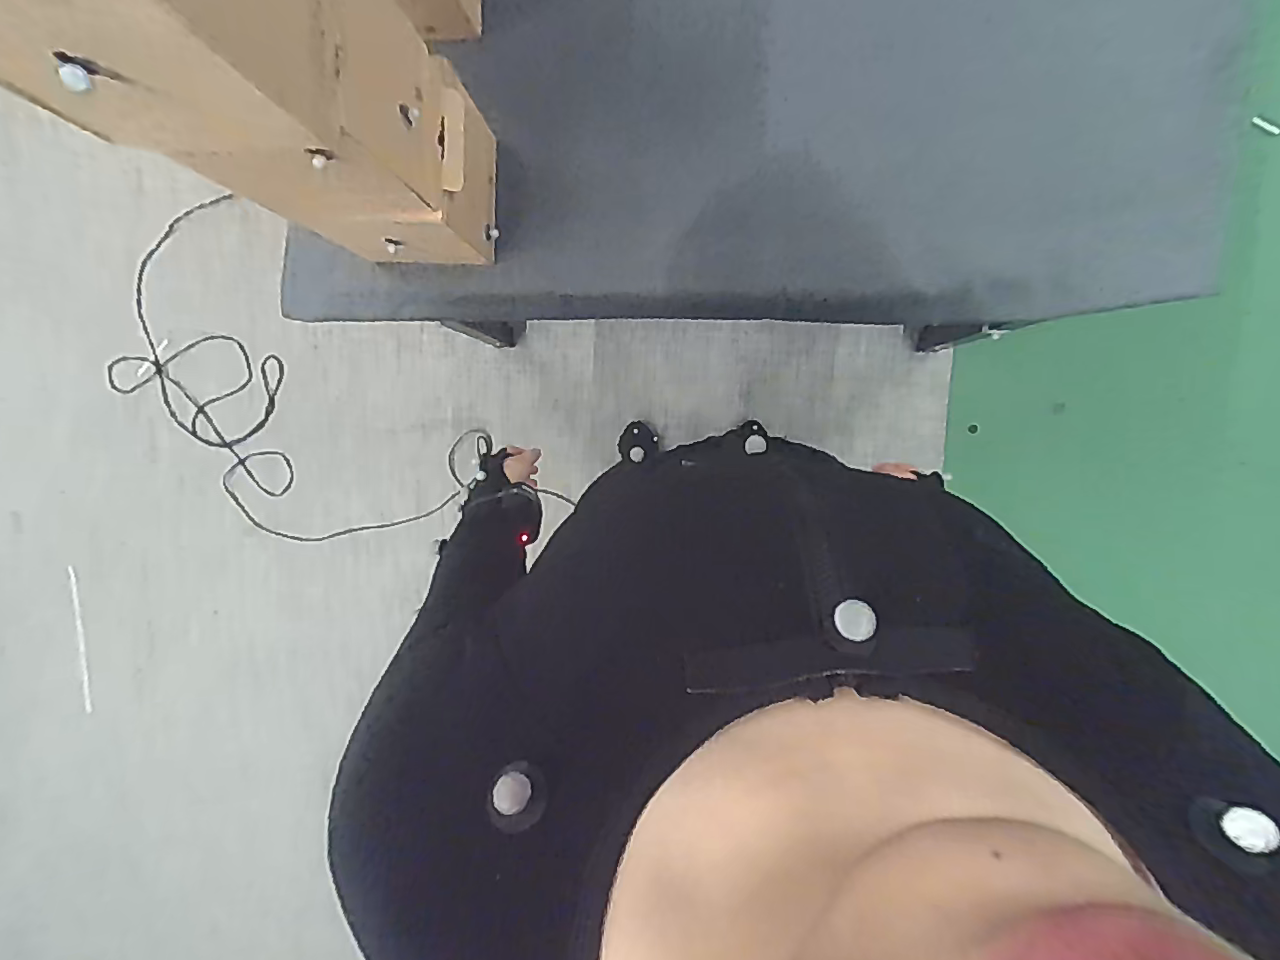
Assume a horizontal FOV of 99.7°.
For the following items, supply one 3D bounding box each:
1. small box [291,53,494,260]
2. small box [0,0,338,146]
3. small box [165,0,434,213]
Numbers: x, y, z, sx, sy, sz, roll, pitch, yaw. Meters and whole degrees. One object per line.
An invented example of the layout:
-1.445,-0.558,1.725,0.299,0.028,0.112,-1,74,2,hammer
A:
-0.285,-0.373,0.650,0.179,0.176,0.168,3,97,4,small box
-0.319,-0.328,0.328,0.179,0.176,0.168,1,96,3,small box
-0.310,-0.358,0.489,0.179,0.176,0.168,-1,96,3,small box
